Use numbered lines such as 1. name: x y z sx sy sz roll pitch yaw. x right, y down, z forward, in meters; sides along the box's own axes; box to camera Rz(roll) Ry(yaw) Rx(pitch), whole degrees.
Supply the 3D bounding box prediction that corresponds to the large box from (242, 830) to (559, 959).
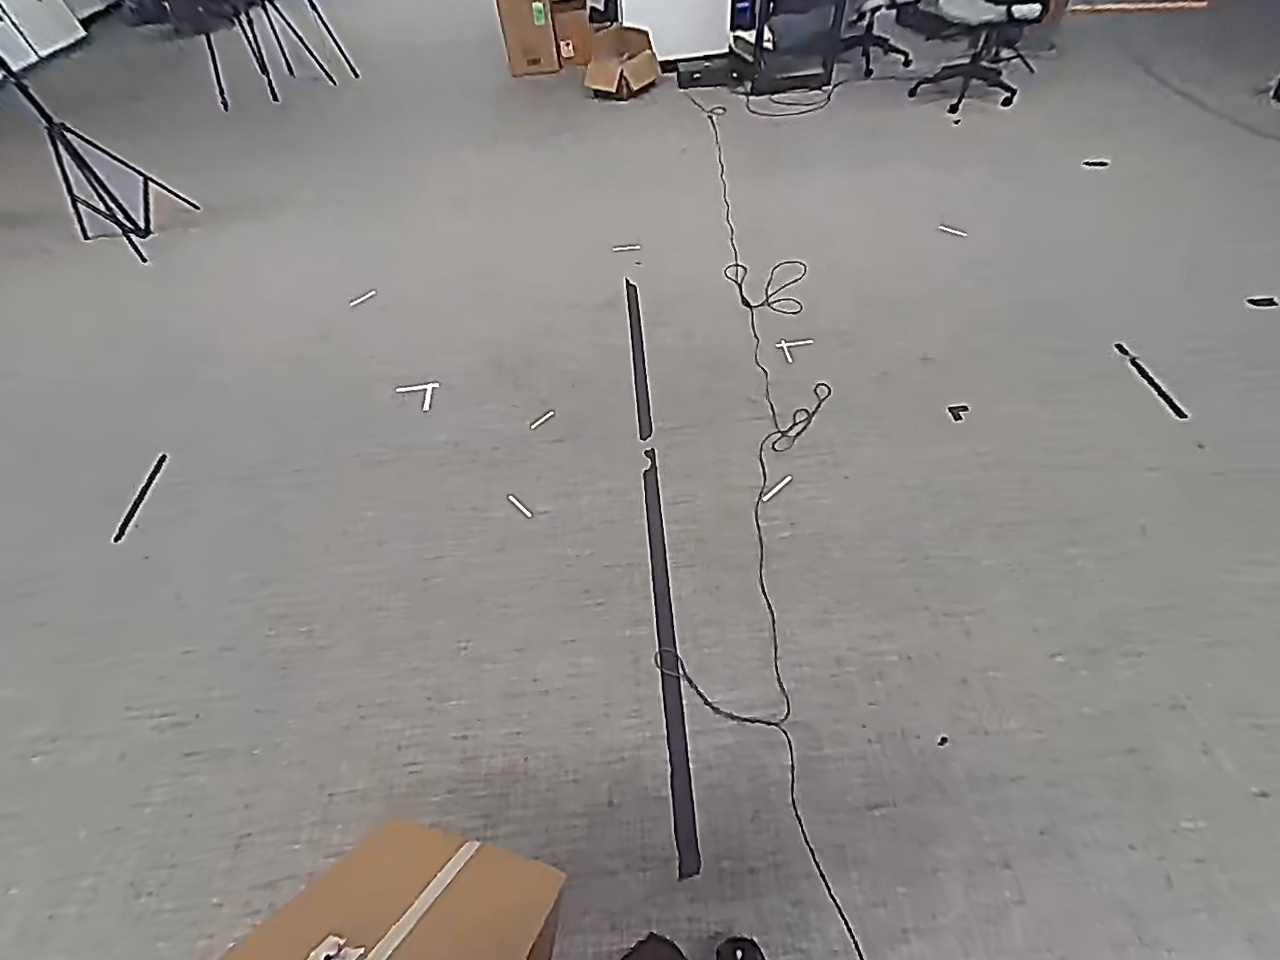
1. large box: -0.329 0.735 0.668 0.320 0.408 0.320 8 87 11
